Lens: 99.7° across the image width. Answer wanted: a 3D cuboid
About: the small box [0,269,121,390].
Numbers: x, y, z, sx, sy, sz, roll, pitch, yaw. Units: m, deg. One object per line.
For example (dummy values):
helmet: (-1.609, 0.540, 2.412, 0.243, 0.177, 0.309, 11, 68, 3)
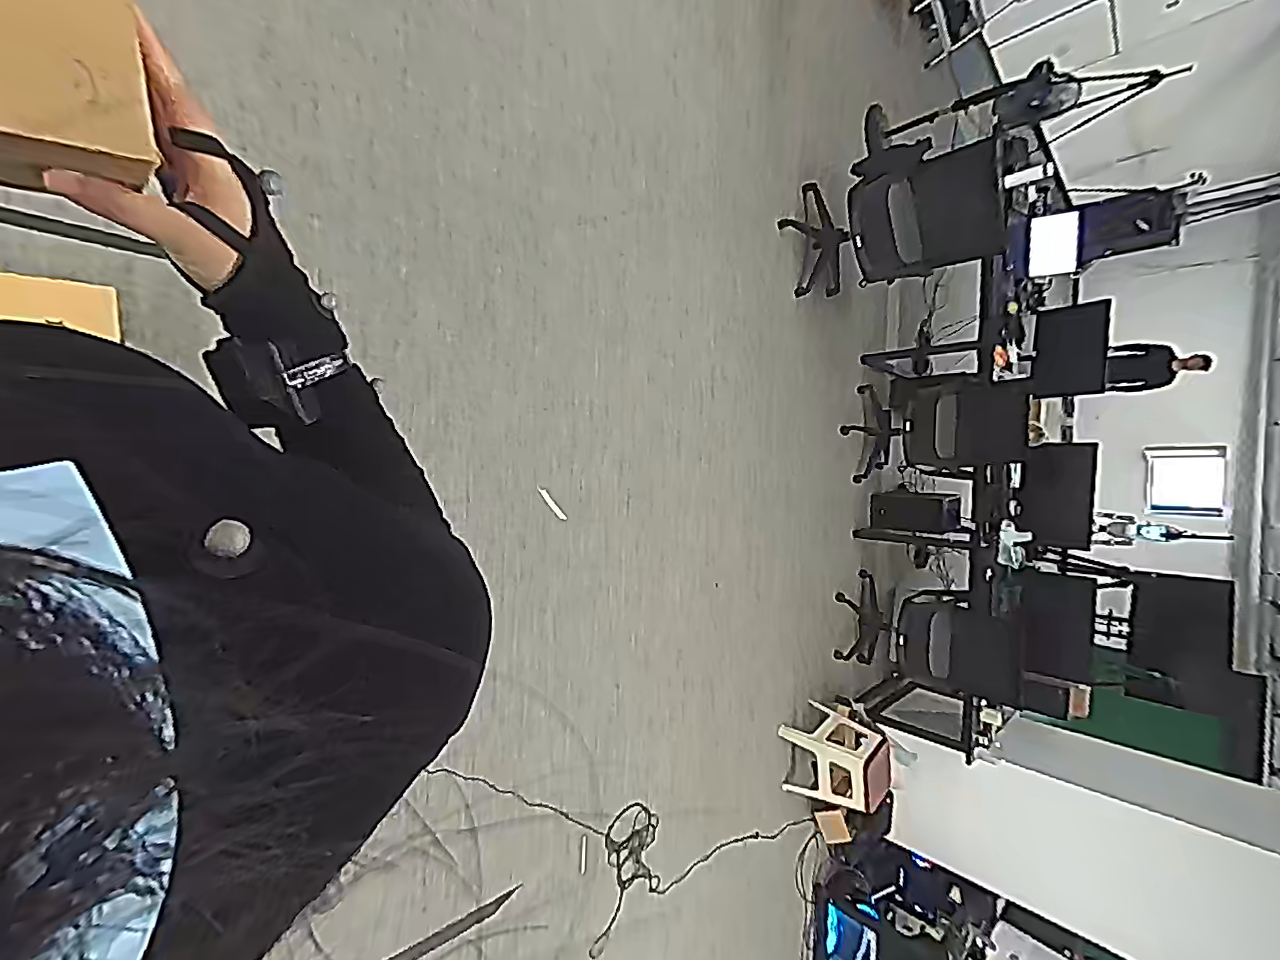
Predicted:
small box: (-1.065, -0.263, 0.979, 0.168, 0.176, 0.179, -5, 96, -45)
